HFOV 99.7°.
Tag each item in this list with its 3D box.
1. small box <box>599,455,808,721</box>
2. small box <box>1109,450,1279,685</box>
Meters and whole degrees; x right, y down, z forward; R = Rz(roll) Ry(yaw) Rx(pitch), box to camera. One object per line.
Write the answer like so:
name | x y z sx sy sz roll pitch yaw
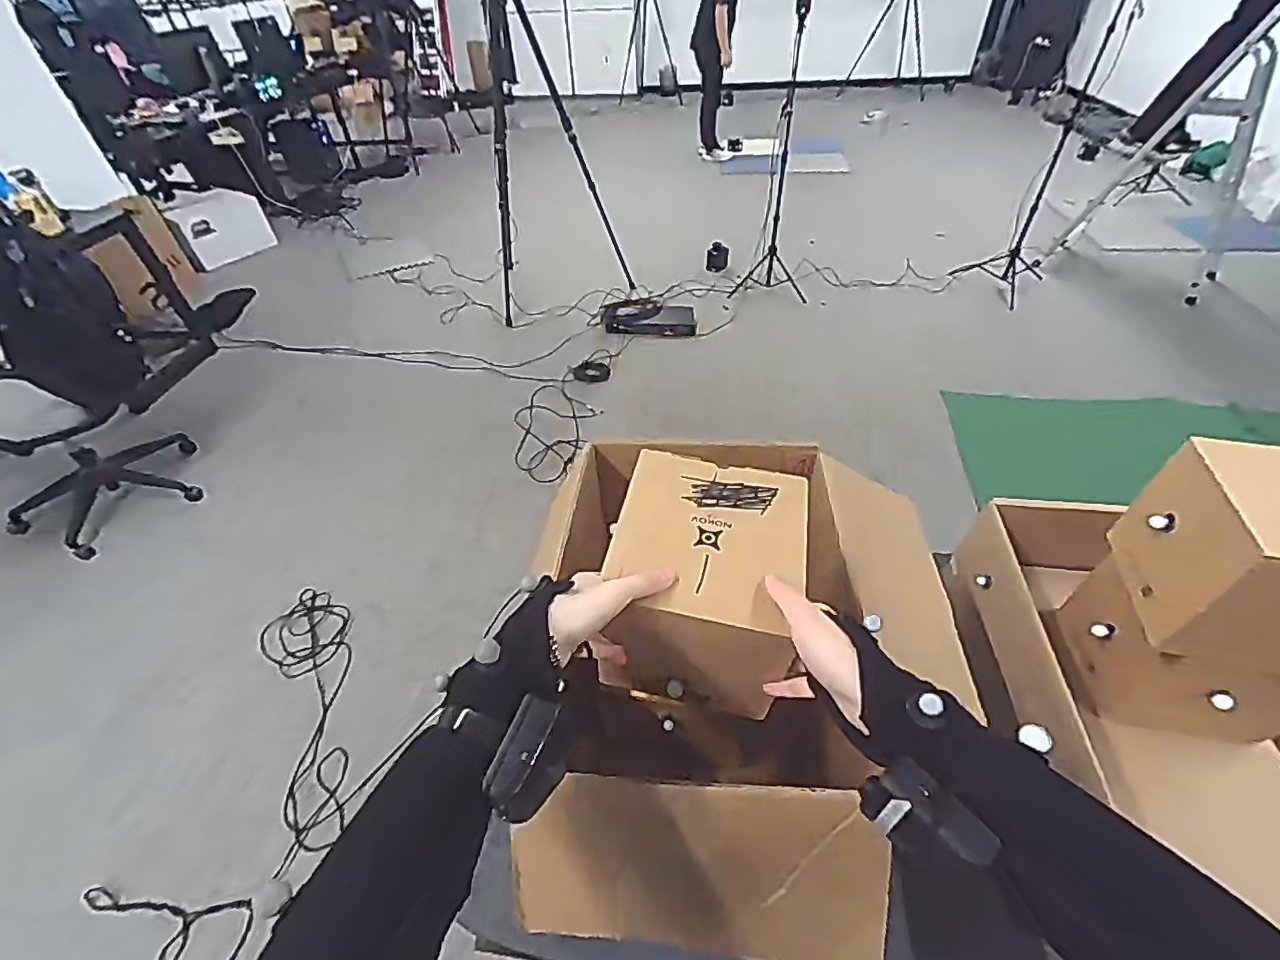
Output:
small box | 0.060 0.106 0.537 0.168 0.176 0.179 12 48 8
small box | 0.643 0.094 0.566 0.179 0.176 0.168 10 47 12
